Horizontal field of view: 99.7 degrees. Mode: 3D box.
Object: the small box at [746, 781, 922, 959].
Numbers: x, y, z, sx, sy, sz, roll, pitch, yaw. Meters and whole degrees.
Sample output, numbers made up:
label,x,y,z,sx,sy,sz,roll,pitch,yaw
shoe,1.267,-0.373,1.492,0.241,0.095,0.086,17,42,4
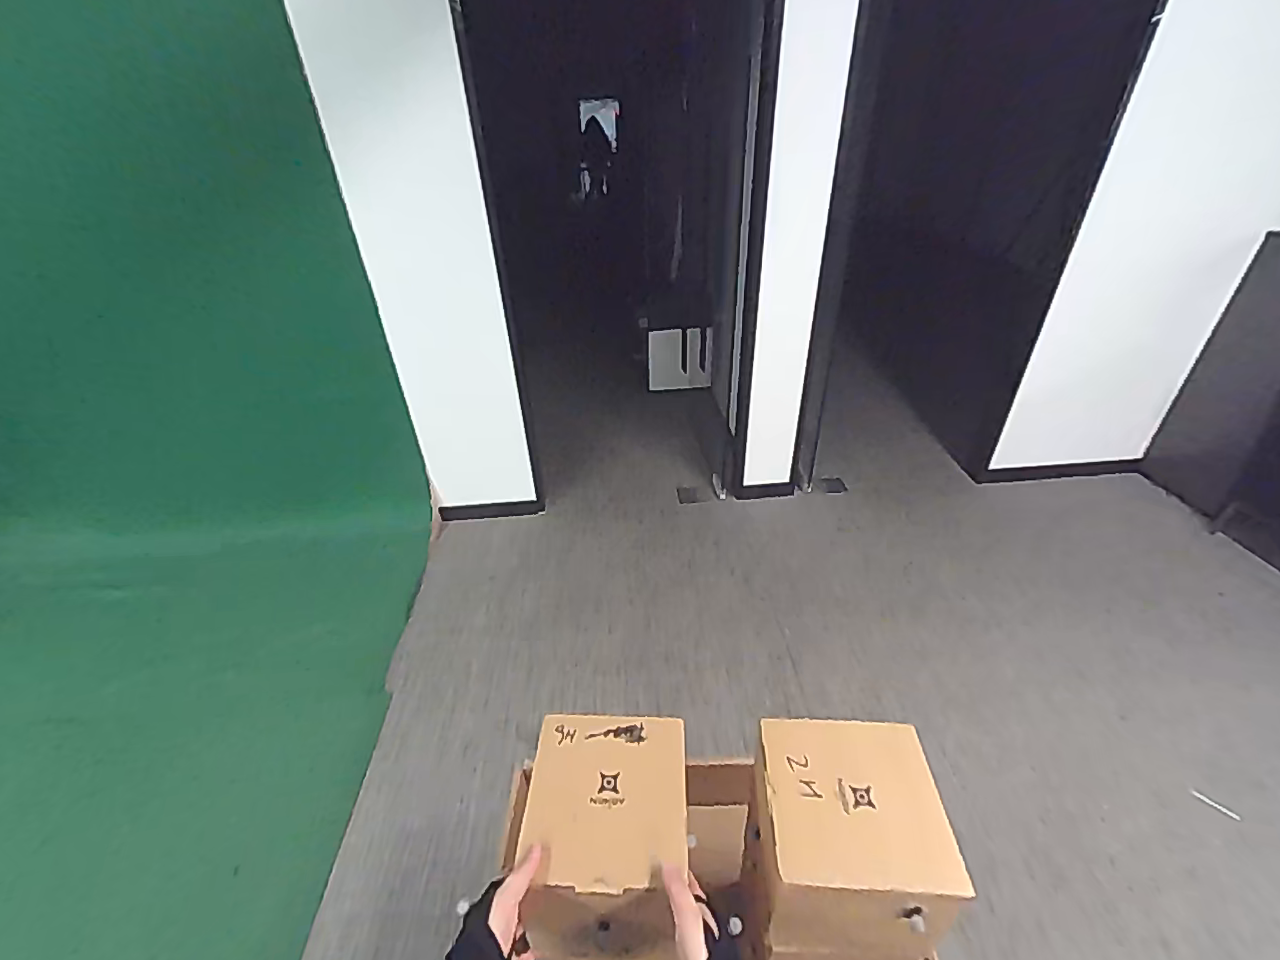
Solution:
label,x,y,z,sx,sy,sz,roll,pitch,yaw
small box,0.230,0.520,0.696,0.168,0.176,0.179,-1,35,5
